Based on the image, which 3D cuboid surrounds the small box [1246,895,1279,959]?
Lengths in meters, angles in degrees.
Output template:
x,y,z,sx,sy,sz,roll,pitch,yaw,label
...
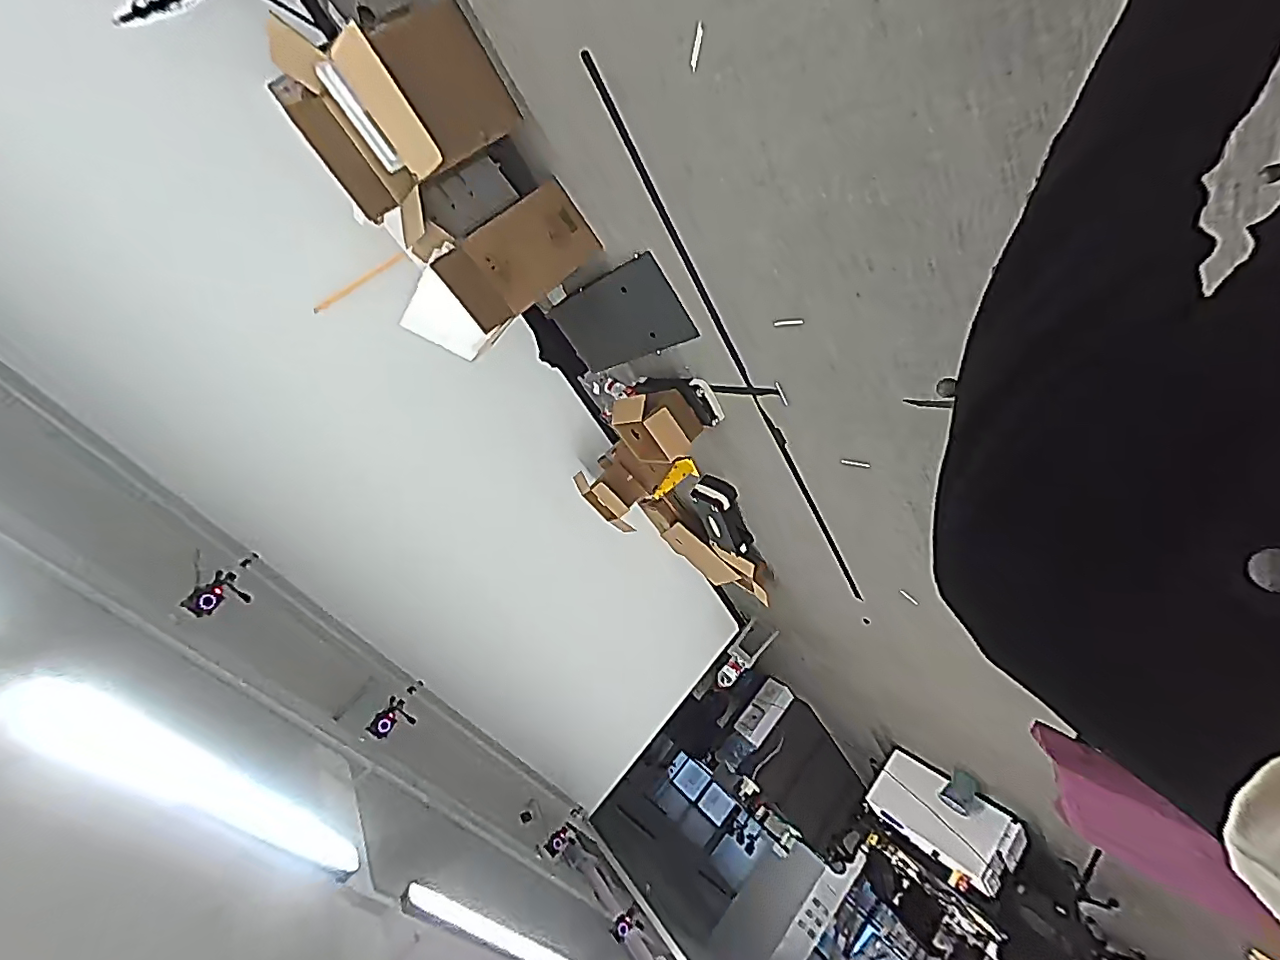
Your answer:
x,y,z,sx,sy,sz,roll,pitch,yaw,label
1.753,1.243,1.422,0.168,0.176,0.179,52,162,-28,small box
